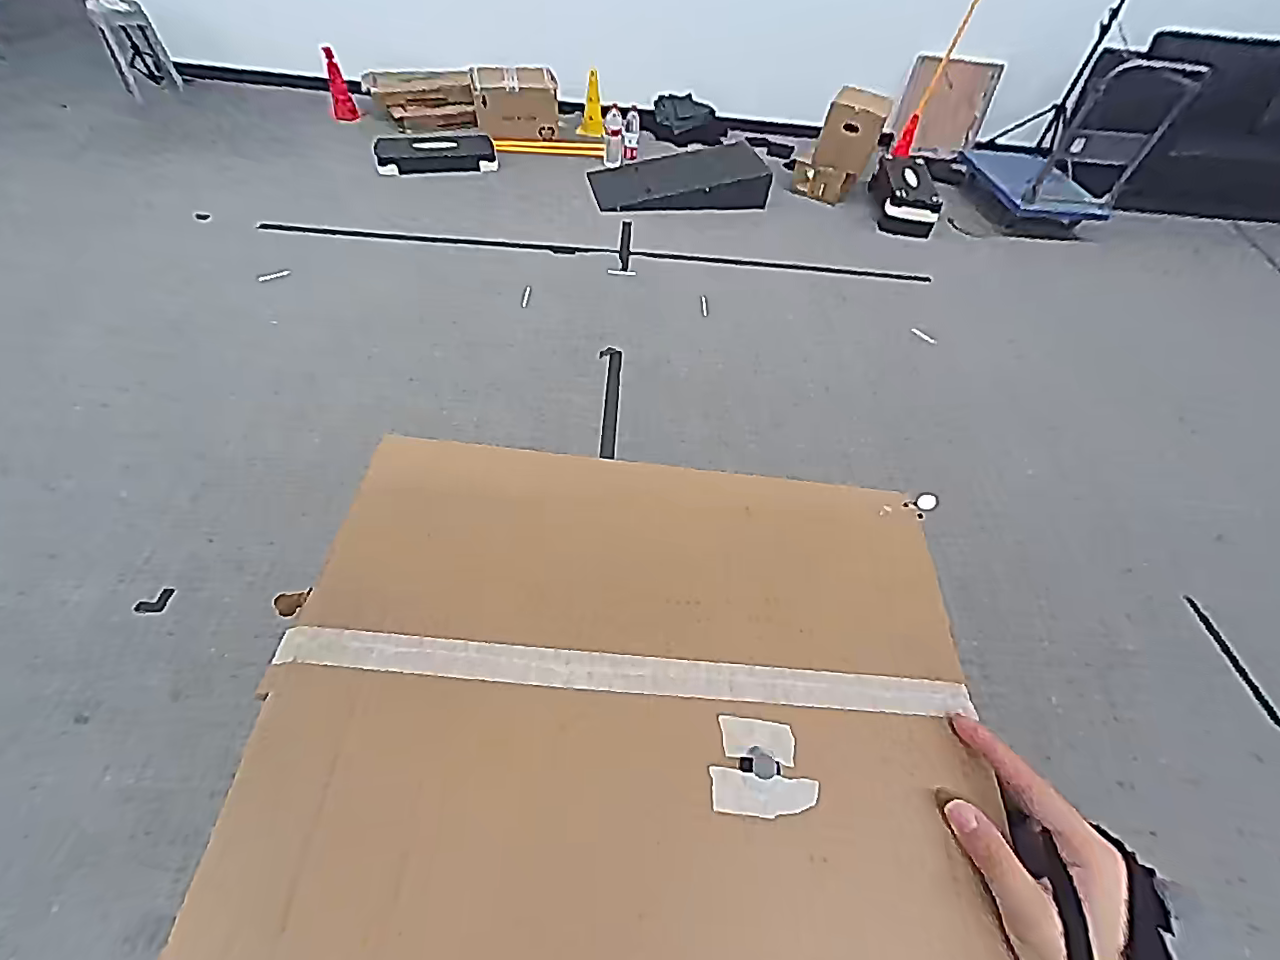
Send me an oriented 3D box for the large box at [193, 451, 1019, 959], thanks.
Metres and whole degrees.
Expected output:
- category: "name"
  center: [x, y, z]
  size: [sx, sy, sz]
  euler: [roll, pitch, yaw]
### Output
- category: "large box"
  center: [-0.017, 0.205, 0.455]
  size: [0.408, 0.320, 0.320]
  euler: [7, 56, -4]
